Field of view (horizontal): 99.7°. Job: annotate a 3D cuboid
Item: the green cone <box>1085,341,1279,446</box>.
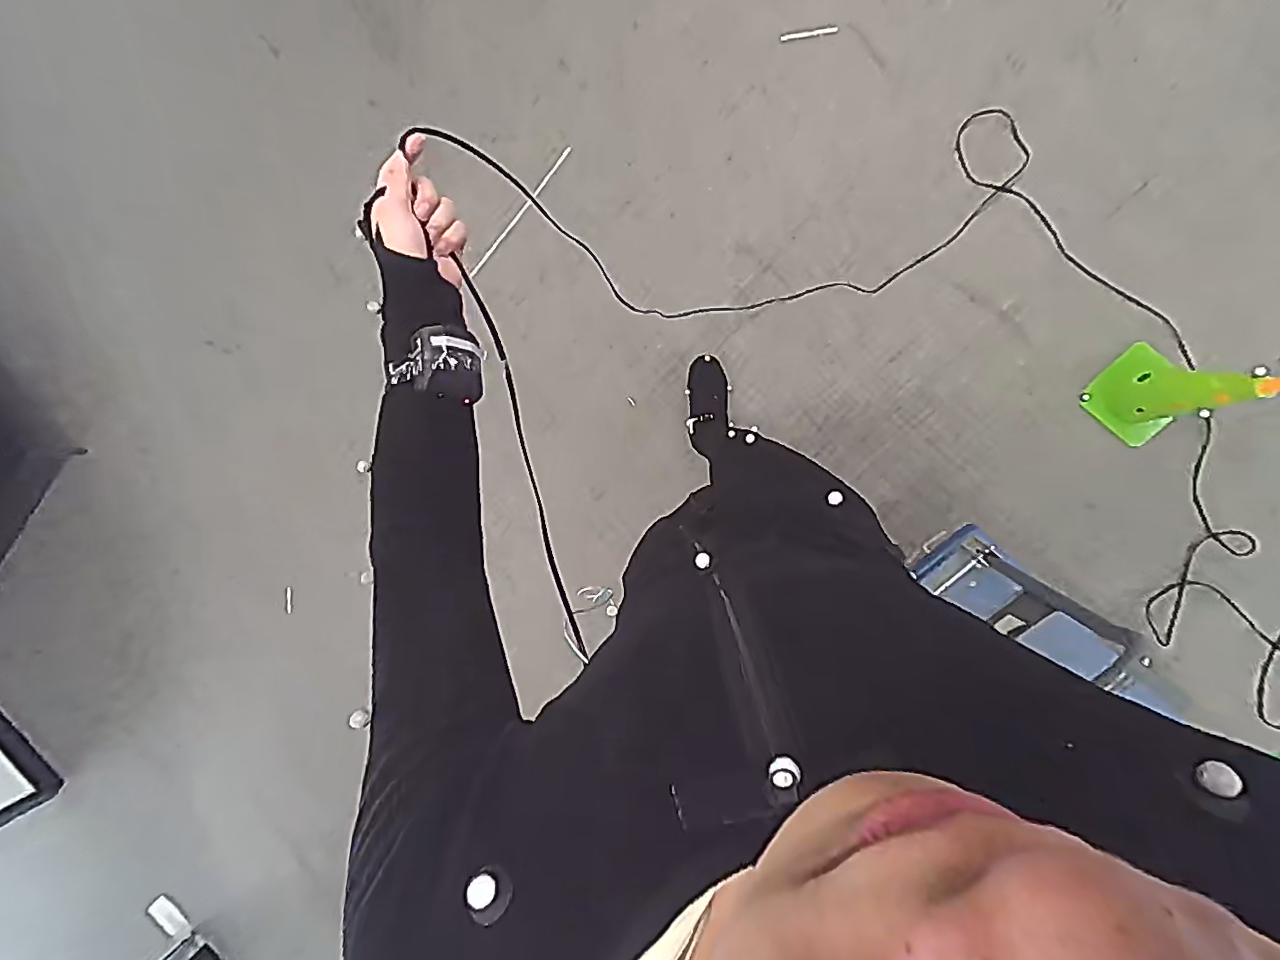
[{"bbox_3d":[1.223,-0.194,1.179,0.200,0.368,0.202,42,102,3],"label":"green cone"}]
